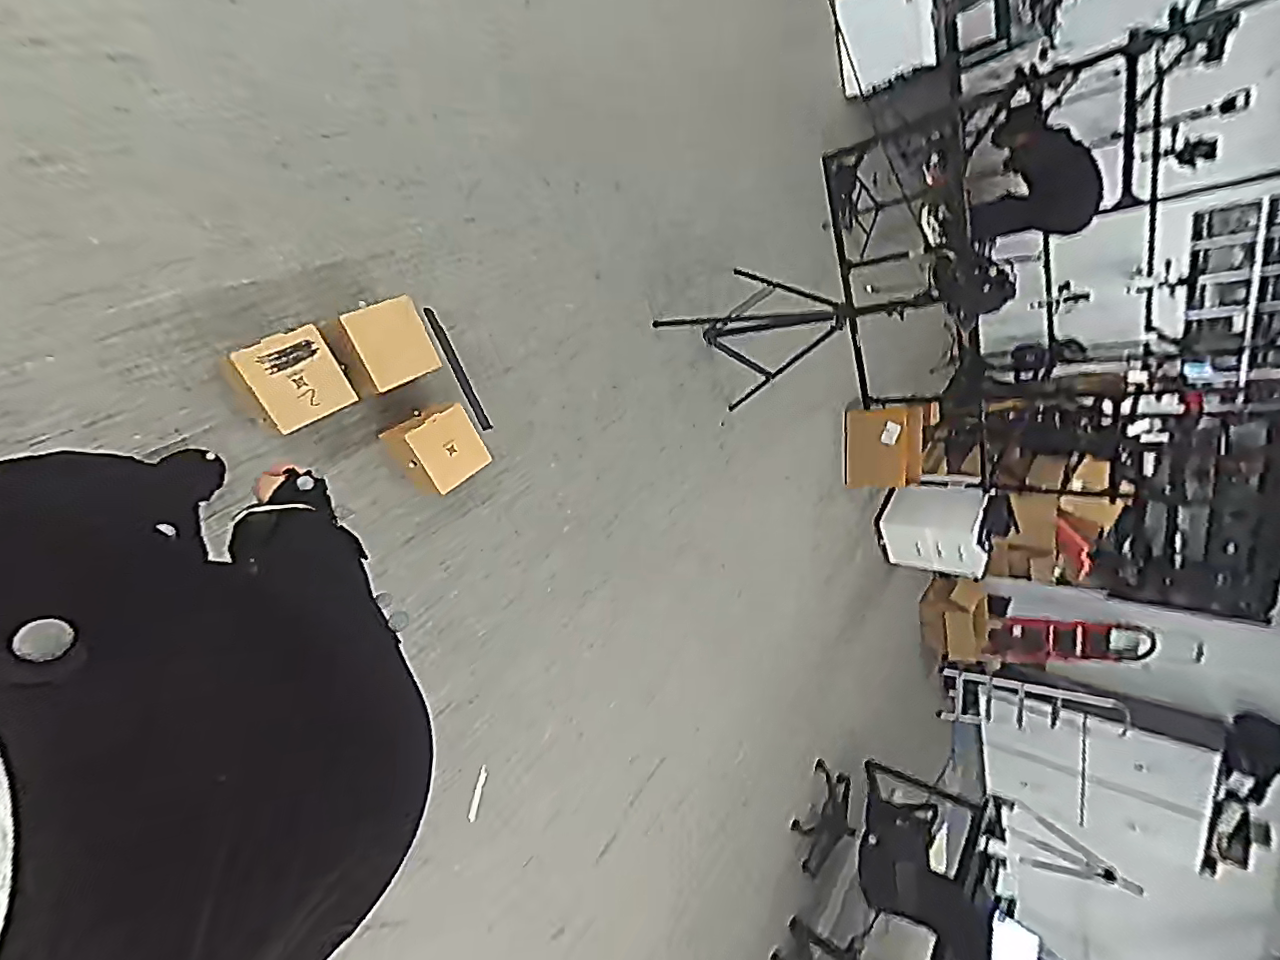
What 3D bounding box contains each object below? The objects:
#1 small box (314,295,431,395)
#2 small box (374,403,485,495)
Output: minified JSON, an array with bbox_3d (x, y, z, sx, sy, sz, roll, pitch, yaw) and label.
[{"bbox_3d":[-0.620,-0.314,1.267,0.168,0.176,0.179,-38,120,-38],"label":"small box"},{"bbox_3d":[-0.537,-0.083,1.381,0.168,0.176,0.179,-43,122,-35],"label":"small box"}]
